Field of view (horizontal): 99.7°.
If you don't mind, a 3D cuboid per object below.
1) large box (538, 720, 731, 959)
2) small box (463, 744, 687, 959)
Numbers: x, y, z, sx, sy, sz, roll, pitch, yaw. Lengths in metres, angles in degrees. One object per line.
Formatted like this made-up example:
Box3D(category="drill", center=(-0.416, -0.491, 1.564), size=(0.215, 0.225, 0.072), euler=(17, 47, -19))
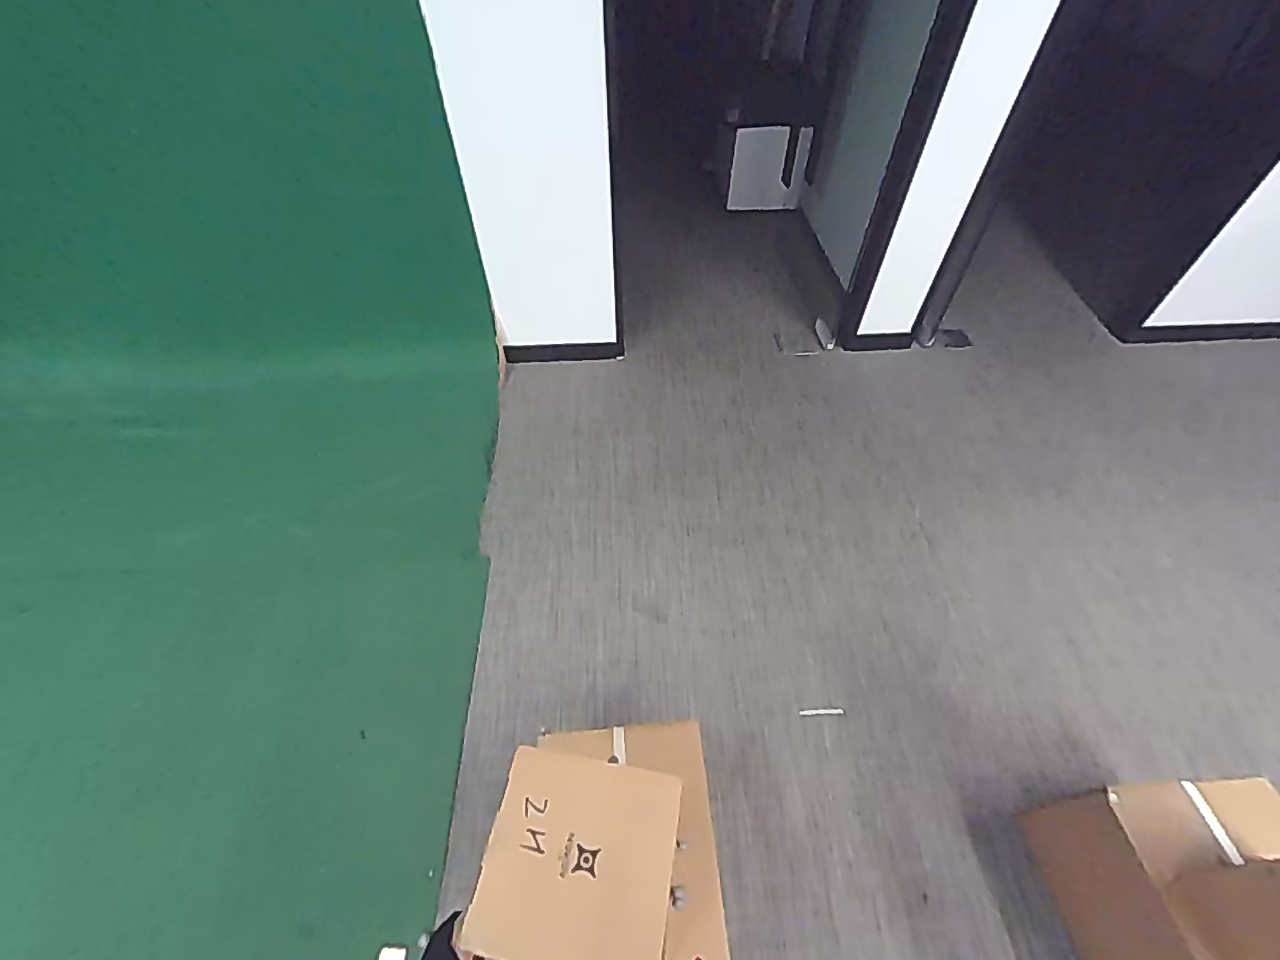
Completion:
Box3D(category="large box", center=(-0.024, 0.725, 1.033), size=(0.320, 0.320, 0.408), euler=(-3, 50, -2))
Box3D(category="small box", center=(-0.051, 0.399, 0.564), size=(0.179, 0.176, 0.168), euler=(7, 51, 8))
